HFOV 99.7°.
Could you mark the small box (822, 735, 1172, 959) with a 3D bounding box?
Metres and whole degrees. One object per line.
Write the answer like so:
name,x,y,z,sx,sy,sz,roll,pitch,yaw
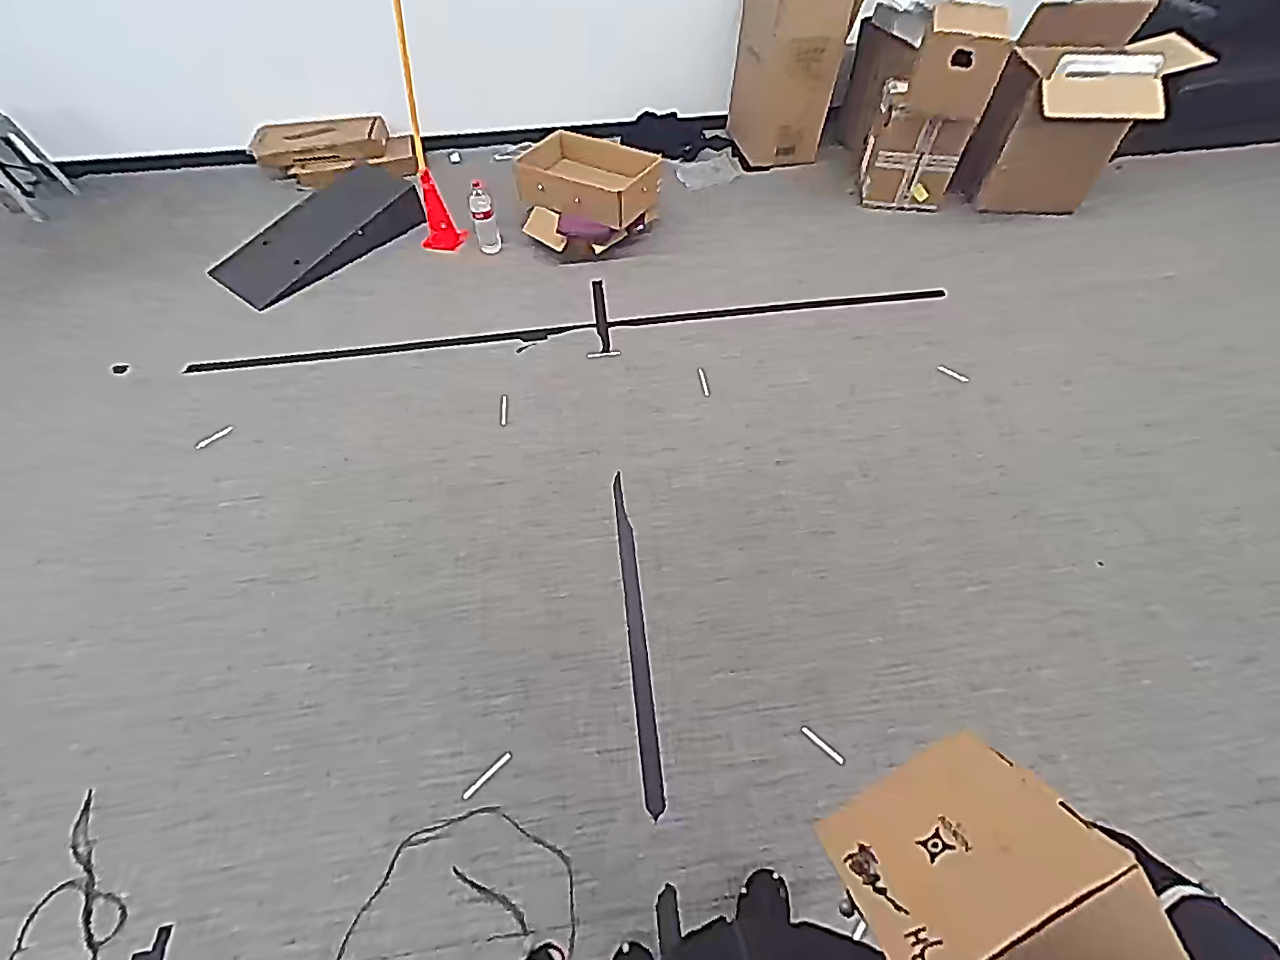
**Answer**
small box,0.294,0.366,0.453,0.179,0.168,0.176,-31,96,-2
